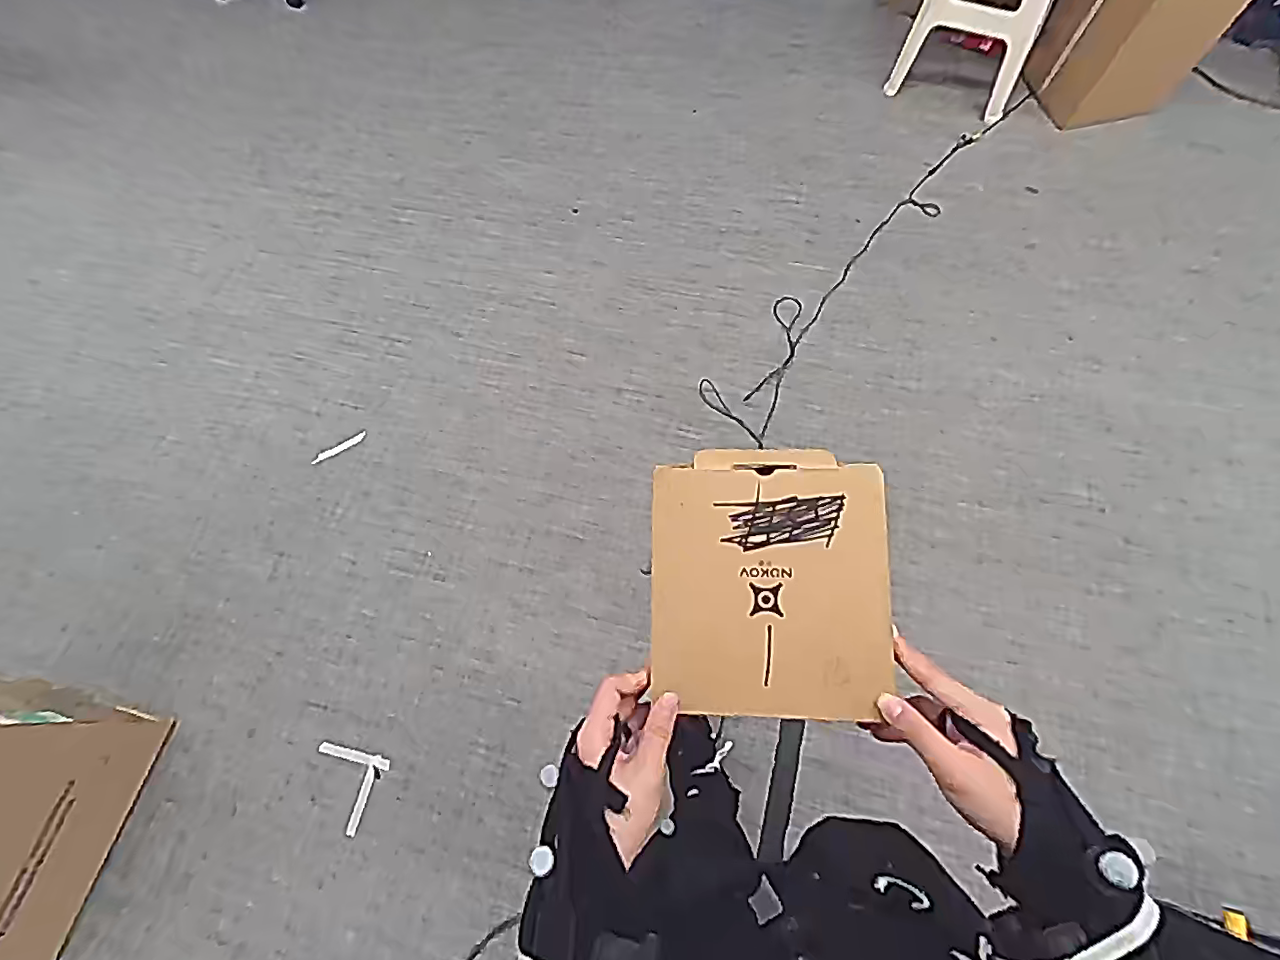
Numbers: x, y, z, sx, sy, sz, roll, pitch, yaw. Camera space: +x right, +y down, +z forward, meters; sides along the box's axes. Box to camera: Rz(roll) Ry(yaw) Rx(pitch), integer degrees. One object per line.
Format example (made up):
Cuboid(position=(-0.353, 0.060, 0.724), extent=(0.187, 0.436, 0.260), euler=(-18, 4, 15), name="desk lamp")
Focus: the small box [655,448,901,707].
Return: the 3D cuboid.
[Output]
Cuboid(position=(0.102, 0.076, 0.456), extent=(0.168, 0.176, 0.179), euler=(0, 81, 7), name="small box")
